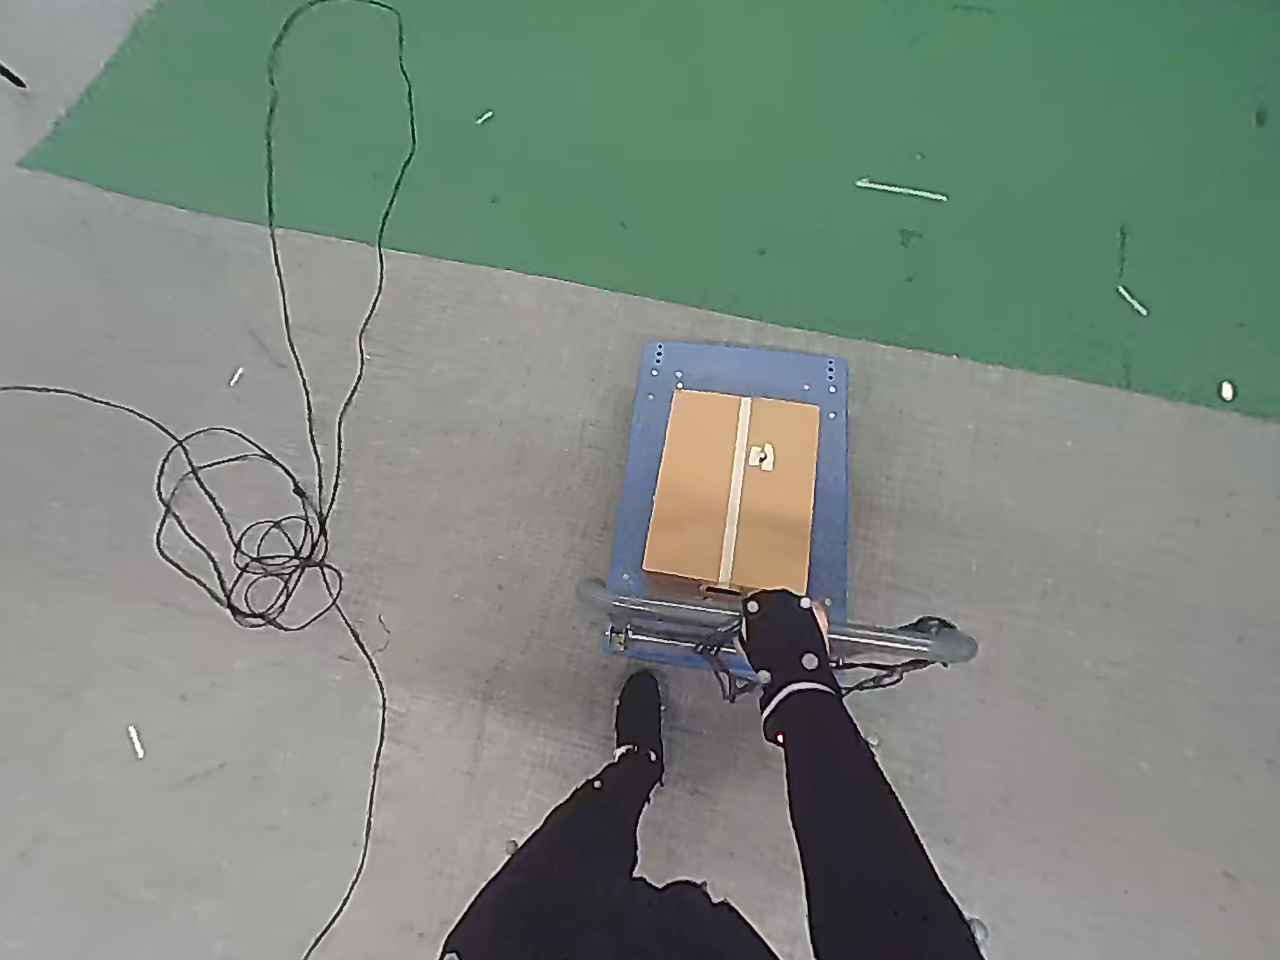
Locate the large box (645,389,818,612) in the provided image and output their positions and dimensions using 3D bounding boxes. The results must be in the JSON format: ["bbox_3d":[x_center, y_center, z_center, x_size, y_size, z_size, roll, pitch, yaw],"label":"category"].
[{"bbox_3d":[0.199,0.060,1.219,0.320,0.320,0.408,9,70,6],"label":"large box"}]
